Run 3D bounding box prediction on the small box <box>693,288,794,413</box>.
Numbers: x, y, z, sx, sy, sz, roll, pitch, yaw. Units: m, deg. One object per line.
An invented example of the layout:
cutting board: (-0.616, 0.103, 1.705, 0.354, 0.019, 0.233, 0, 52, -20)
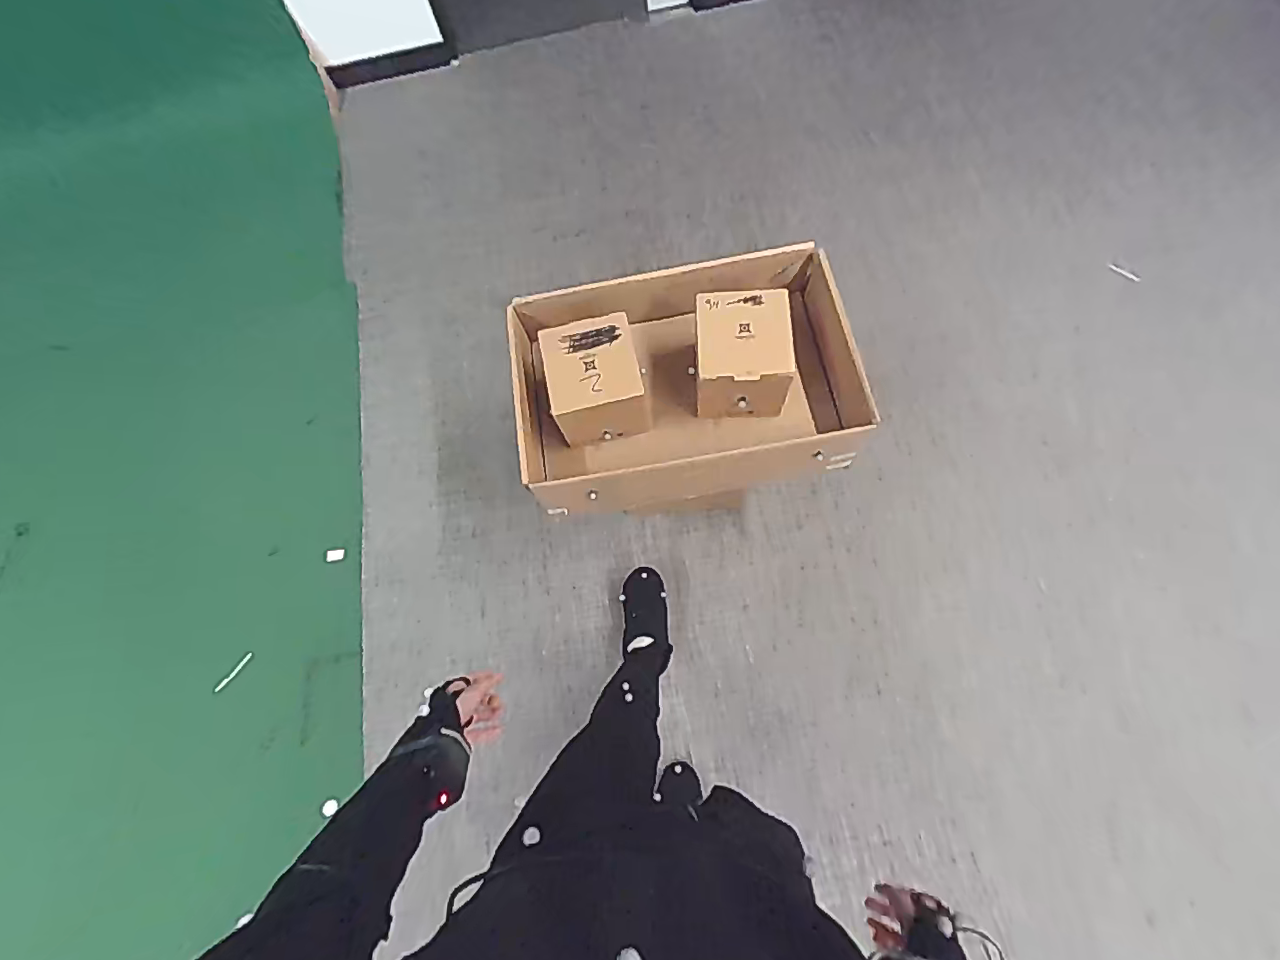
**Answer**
small box: (0.187, -0.234, 1.015, 0.168, 0.176, 0.179, 0, 73, 3)
